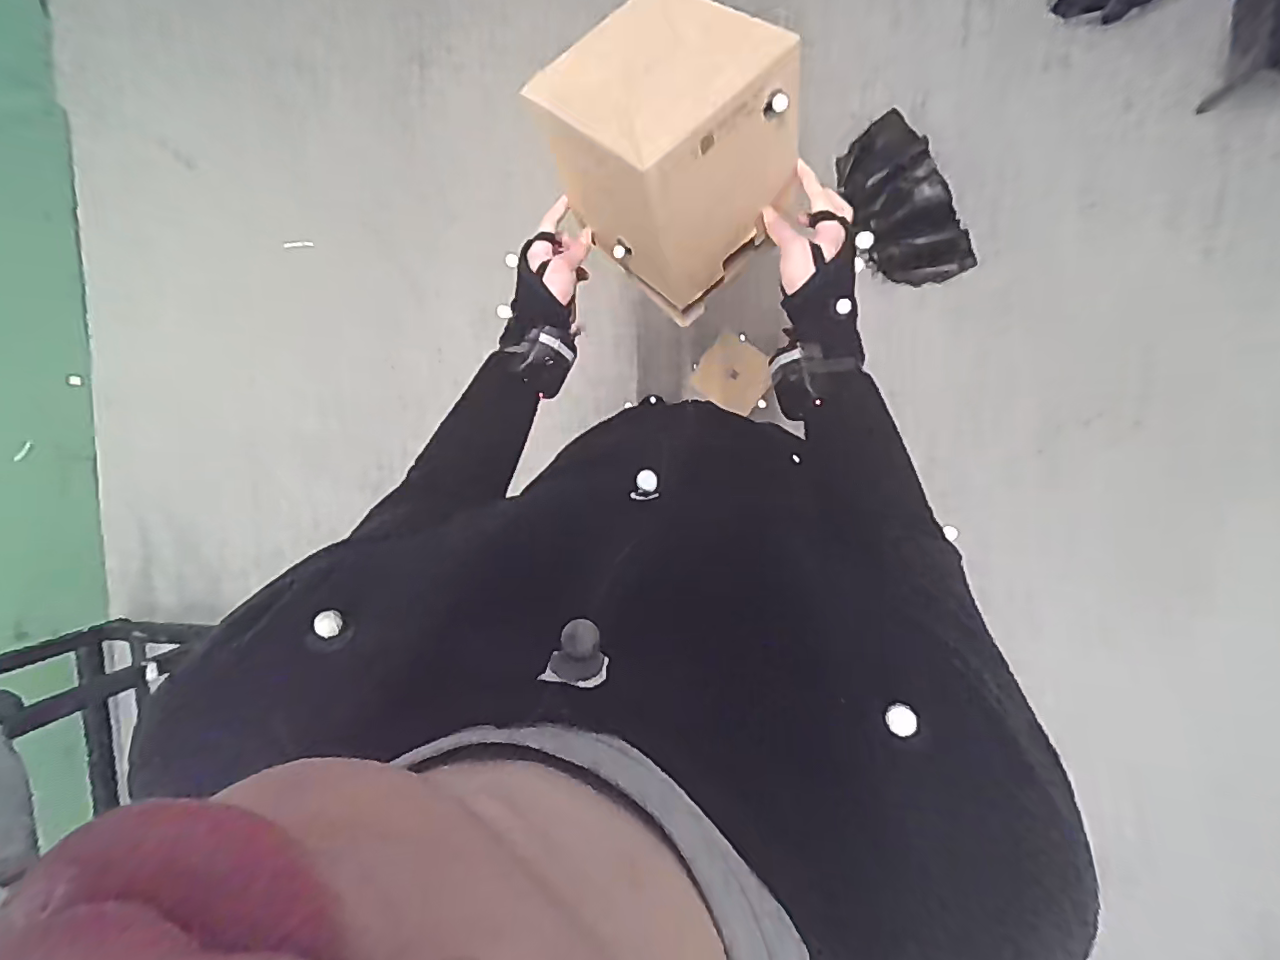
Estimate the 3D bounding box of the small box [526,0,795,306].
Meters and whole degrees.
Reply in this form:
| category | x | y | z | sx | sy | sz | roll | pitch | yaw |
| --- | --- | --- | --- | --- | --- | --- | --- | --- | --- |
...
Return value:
| category | x | y | z | sx | sy | sz | roll | pitch | yaw |
| --- | --- | --- | --- | --- | --- | --- | --- | --- | --- |
| small box | 0.024 | -0.308 | 0.506 | 0.168 | 0.176 | 0.179 | -43 | 67 | -3 |
